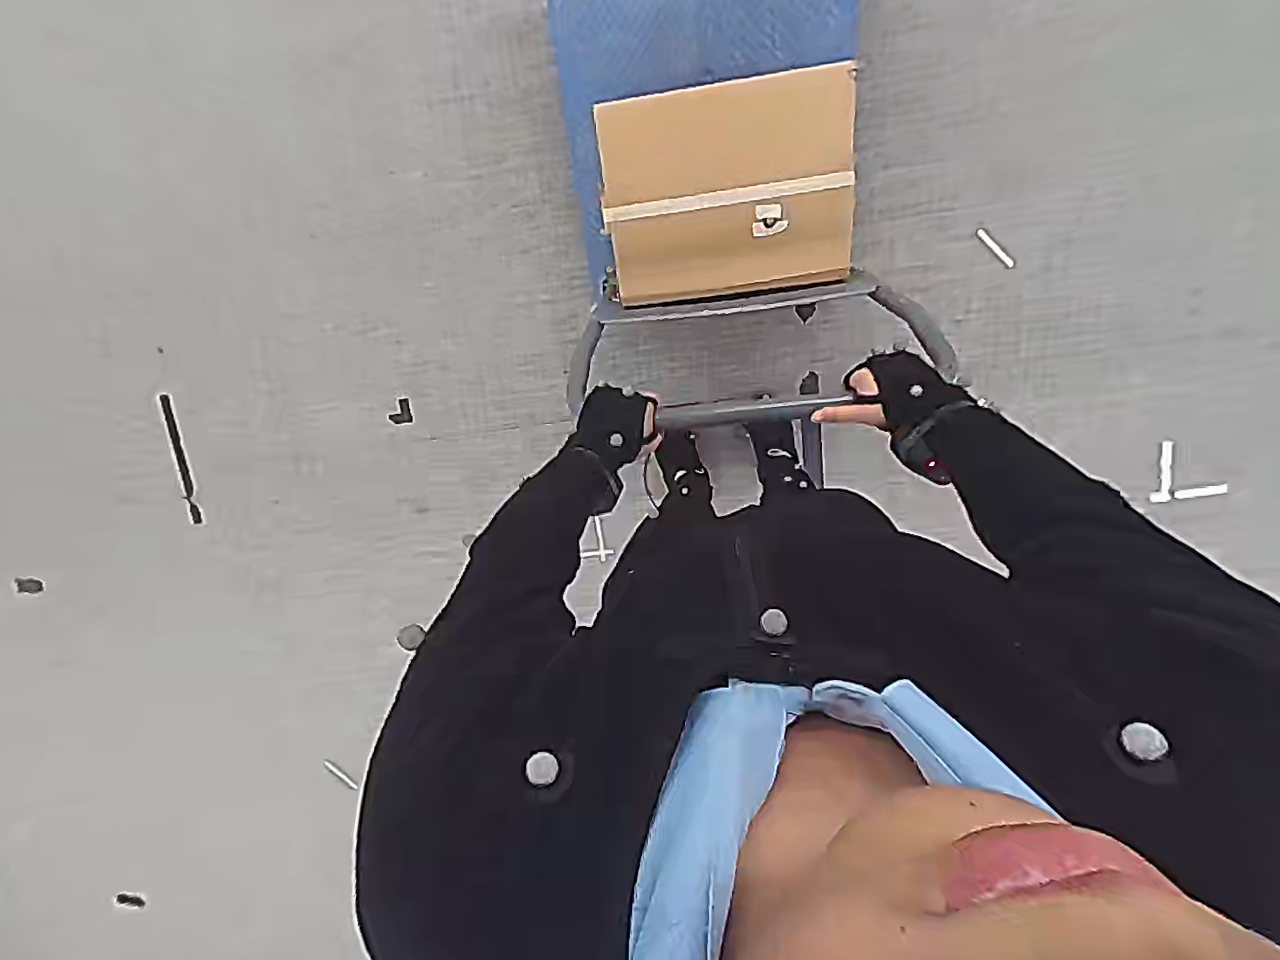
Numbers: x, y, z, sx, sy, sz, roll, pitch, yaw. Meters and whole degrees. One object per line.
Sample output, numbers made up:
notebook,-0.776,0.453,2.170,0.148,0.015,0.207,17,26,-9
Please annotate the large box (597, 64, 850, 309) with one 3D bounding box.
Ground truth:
large box,0.154,-0.542,1.044,0.408,0.320,0.320,-6,118,6
